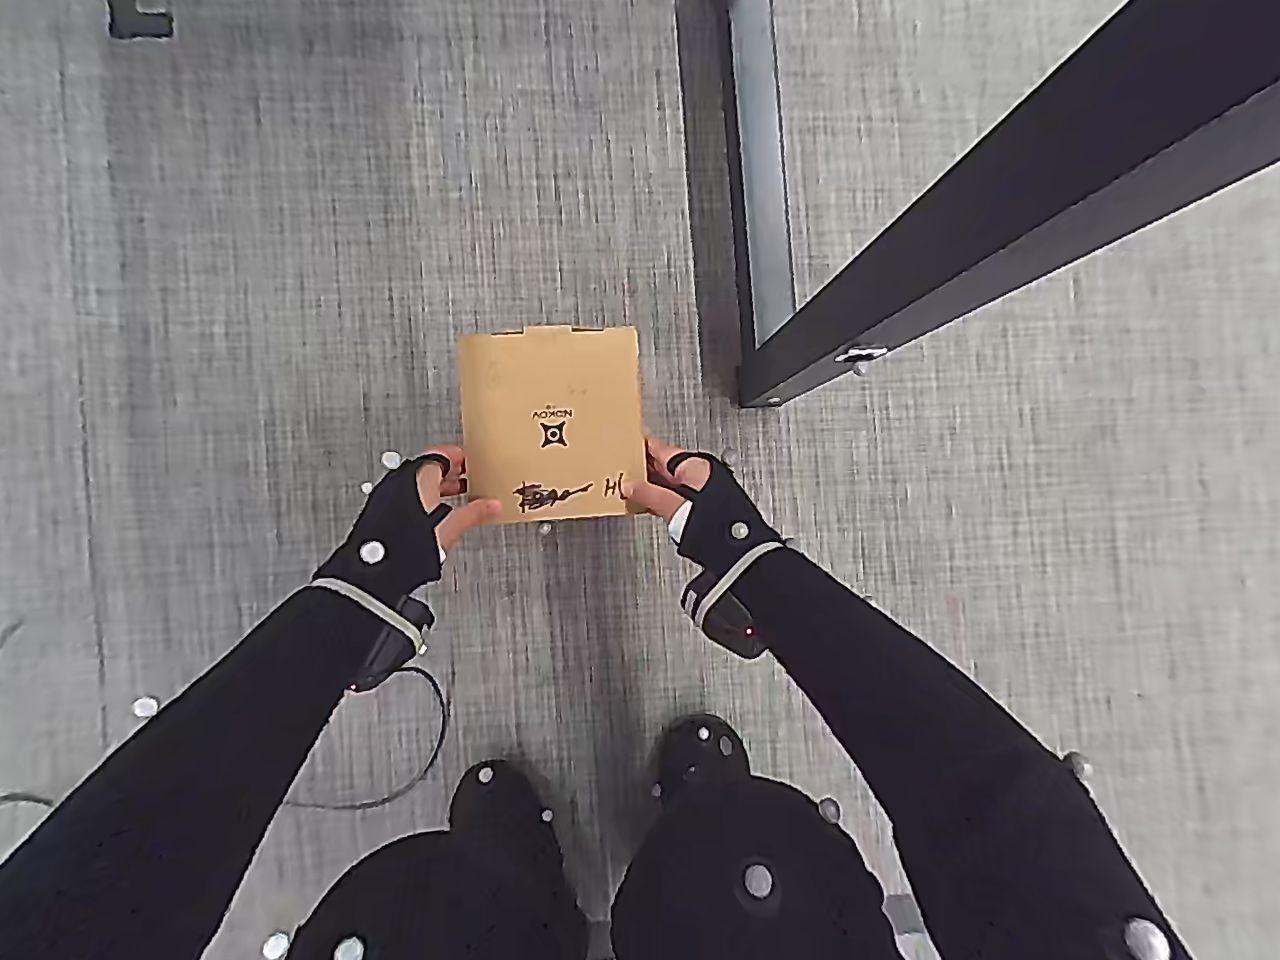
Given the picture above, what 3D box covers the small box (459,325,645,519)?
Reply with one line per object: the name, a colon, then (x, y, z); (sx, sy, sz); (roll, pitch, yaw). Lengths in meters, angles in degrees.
small box: (-0.087, -0.052, 0.578); (0.168, 0.176, 0.179); (-4, 89, -3)
